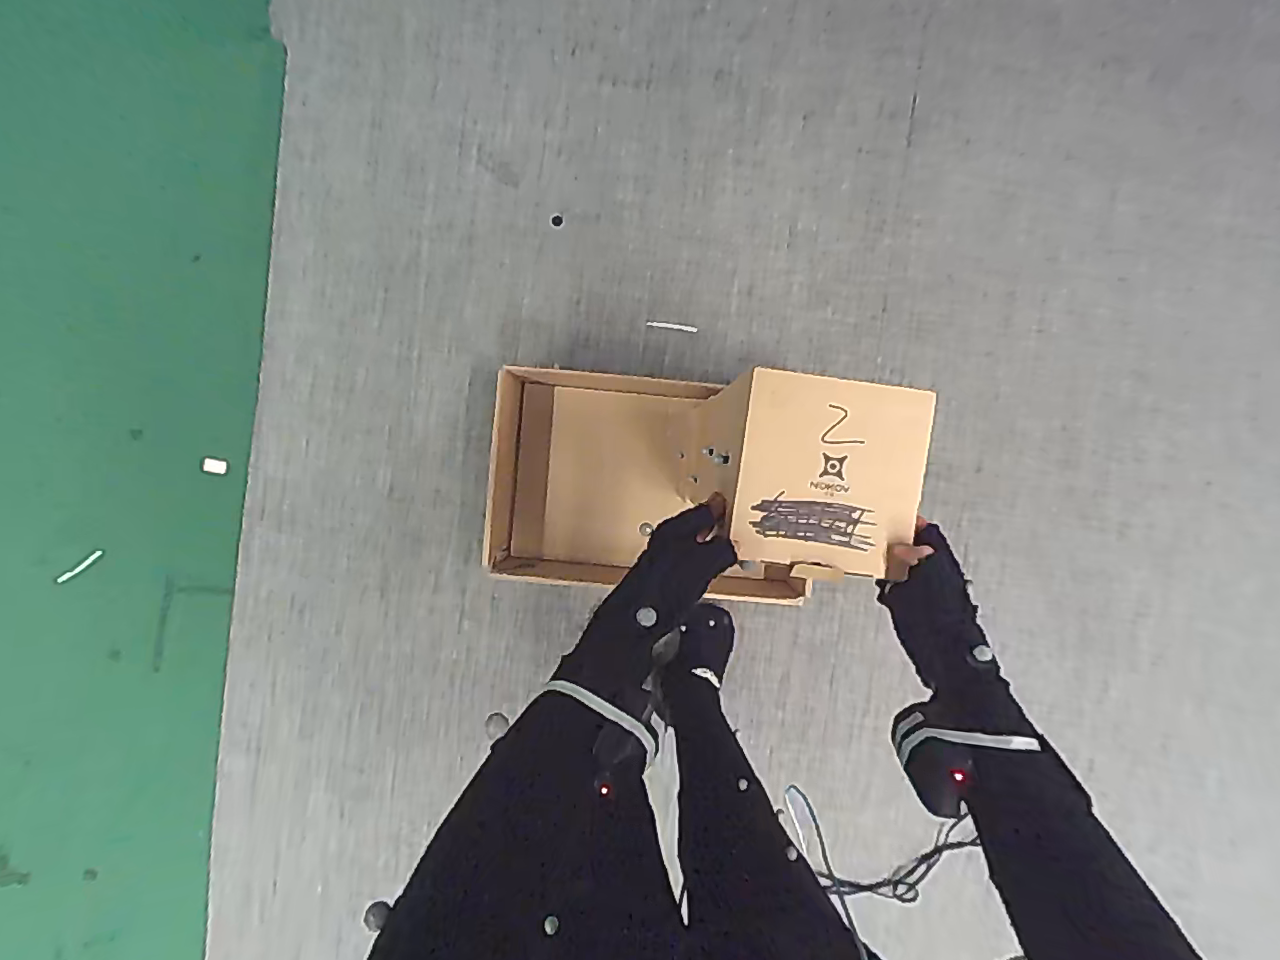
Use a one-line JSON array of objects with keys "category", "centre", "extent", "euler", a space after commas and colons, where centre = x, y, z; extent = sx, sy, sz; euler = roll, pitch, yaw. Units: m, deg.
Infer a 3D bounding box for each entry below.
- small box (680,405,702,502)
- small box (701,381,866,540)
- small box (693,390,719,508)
[{"category": "small box", "centre": [0.166, -0.051, 1.051], "extent": [0.168, 0.176, 0.179], "euler": [1, 92, 2]}, {"category": "small box", "centre": [0.177, -0.027, 0.723], "extent": [0.168, 0.176, 0.179], "euler": [6, 93, -1]}, {"category": "small box", "centre": [0.179, -0.041, 0.869], "extent": [0.168, 0.176, 0.179], "euler": [5, 93, 0]}]
